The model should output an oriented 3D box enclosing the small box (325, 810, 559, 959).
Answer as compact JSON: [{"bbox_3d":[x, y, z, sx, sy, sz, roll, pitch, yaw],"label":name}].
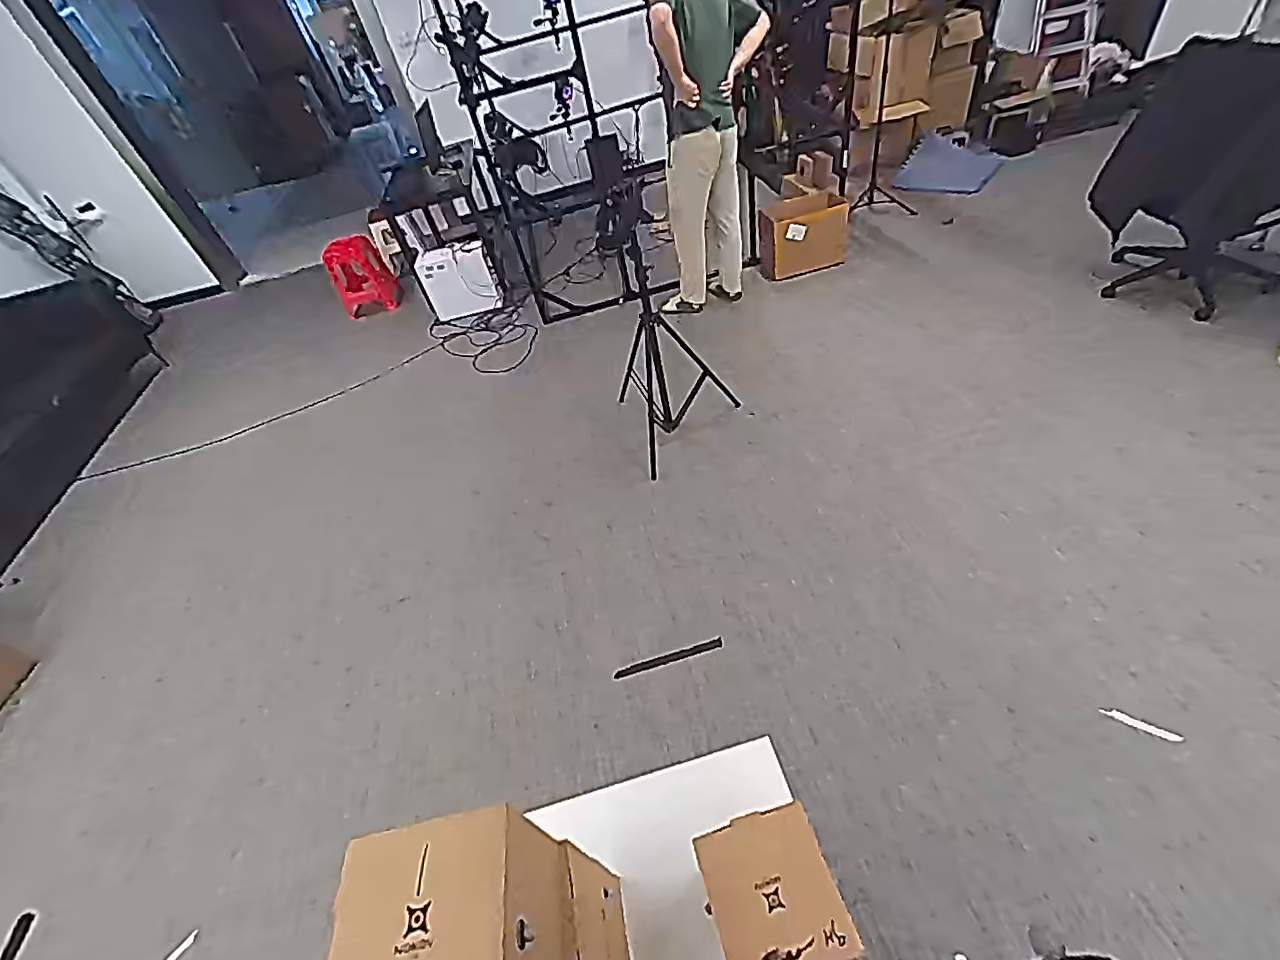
[{"bbox_3d":[-0.179,0.454,0.523,0.168,0.176,0.179,-14,43,1],"label":"small box"}]

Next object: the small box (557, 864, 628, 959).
[{"bbox_3d":[-0.111,0.675,0.758,0.168,0.176,0.179,-16,44,-1],"label":"small box"}]

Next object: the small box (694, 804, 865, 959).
[{"bbox_3d":[0.187,0.594,0.755,0.168,0.176,0.179,-19,44,-2],"label":"small box"}]
